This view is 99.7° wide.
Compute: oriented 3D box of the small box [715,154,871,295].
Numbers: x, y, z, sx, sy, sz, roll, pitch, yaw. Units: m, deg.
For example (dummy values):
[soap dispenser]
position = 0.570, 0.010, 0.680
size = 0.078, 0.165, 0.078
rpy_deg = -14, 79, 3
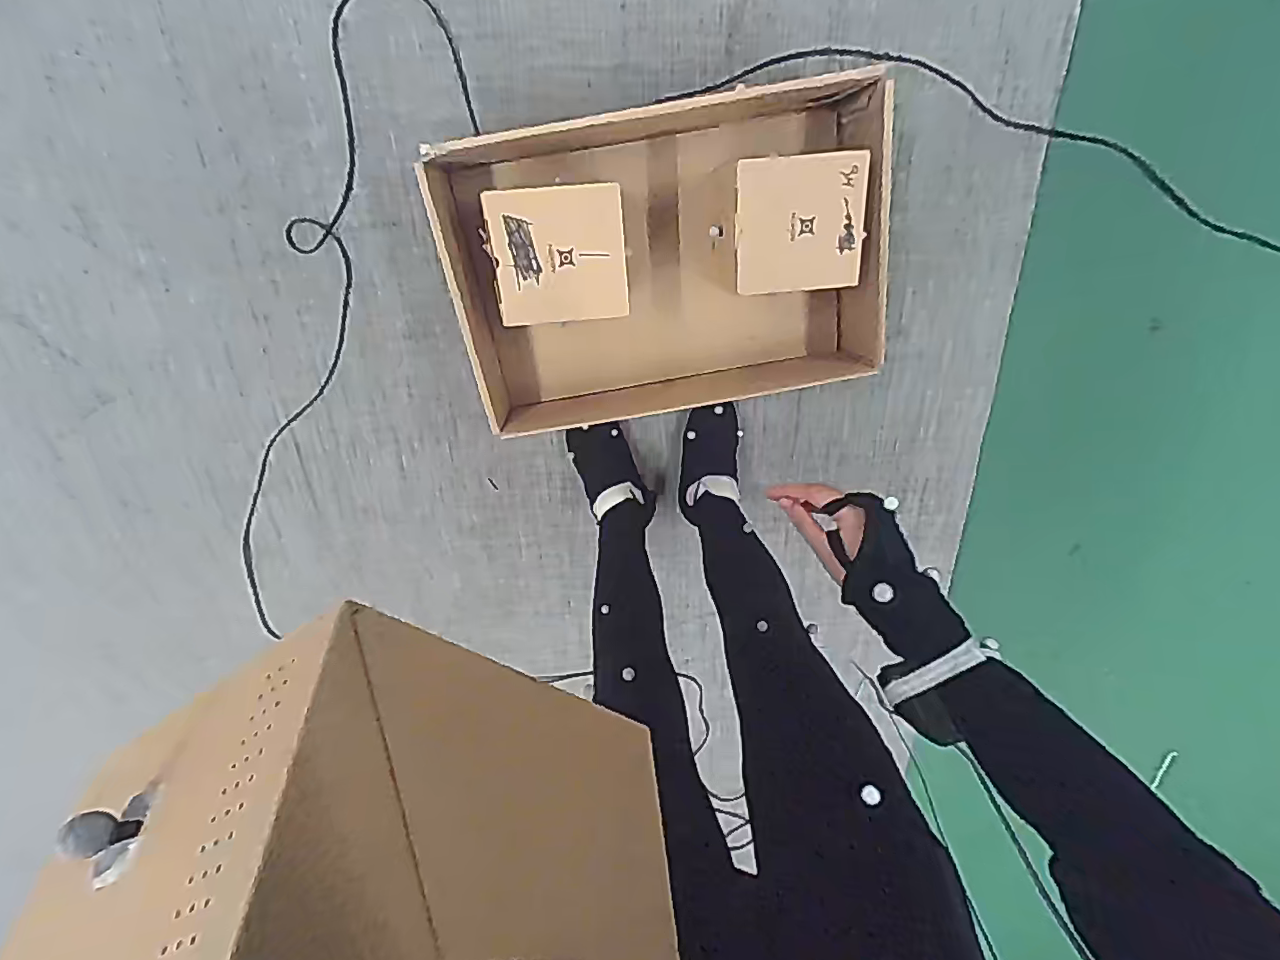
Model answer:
[small box]
position = 0.207, -0.367, 0.789
size = 0.179, 0.176, 0.168
rpy_deg = -5, 115, -2
